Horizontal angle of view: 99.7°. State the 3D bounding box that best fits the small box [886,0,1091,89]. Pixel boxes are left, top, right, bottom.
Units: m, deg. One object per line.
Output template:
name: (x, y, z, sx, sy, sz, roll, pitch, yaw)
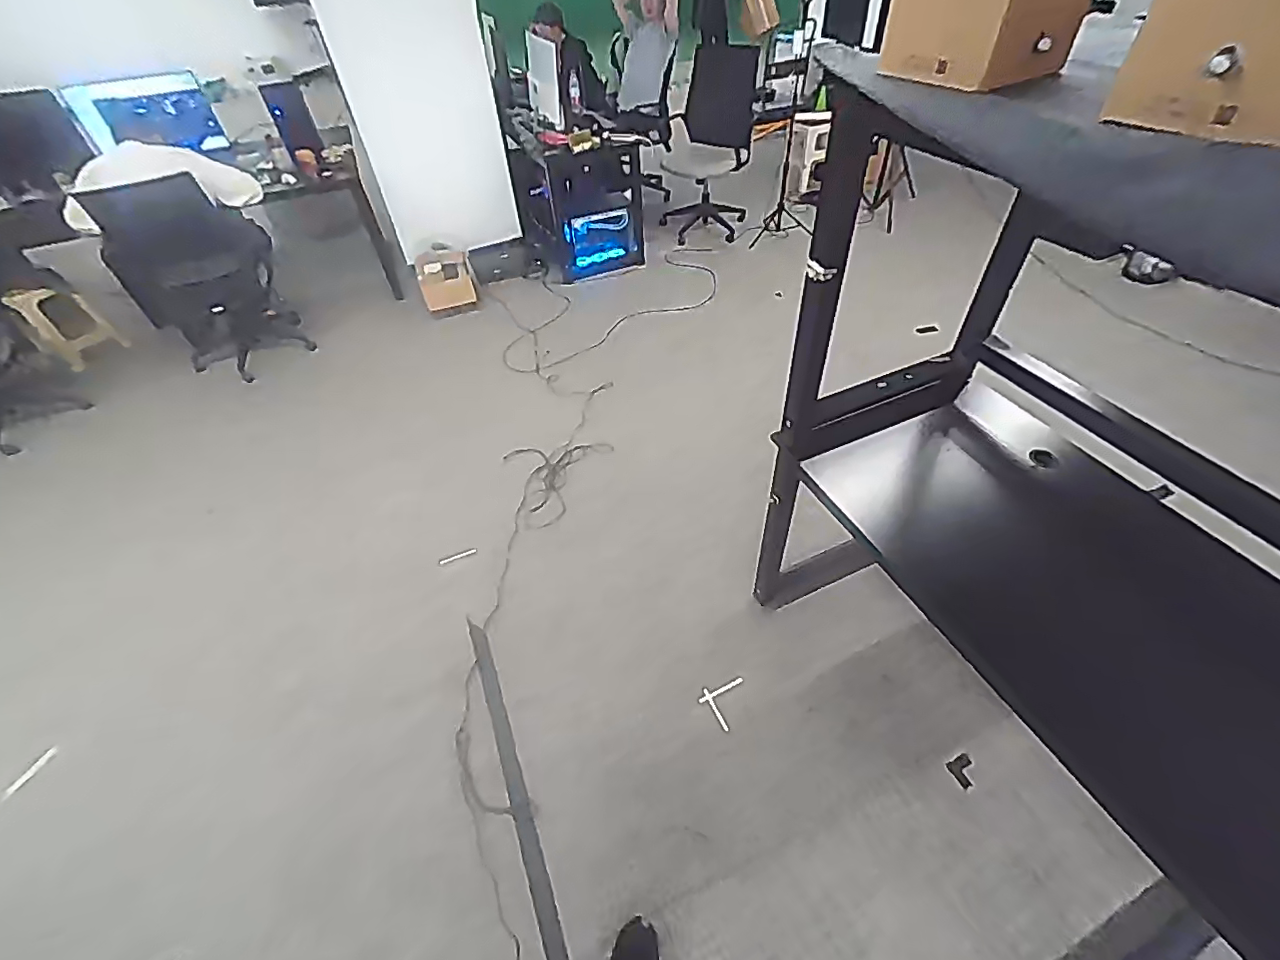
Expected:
small box: (0.441, -0.611, 0.669, 0.179, 0.176, 0.168, -26, 51, -19)
